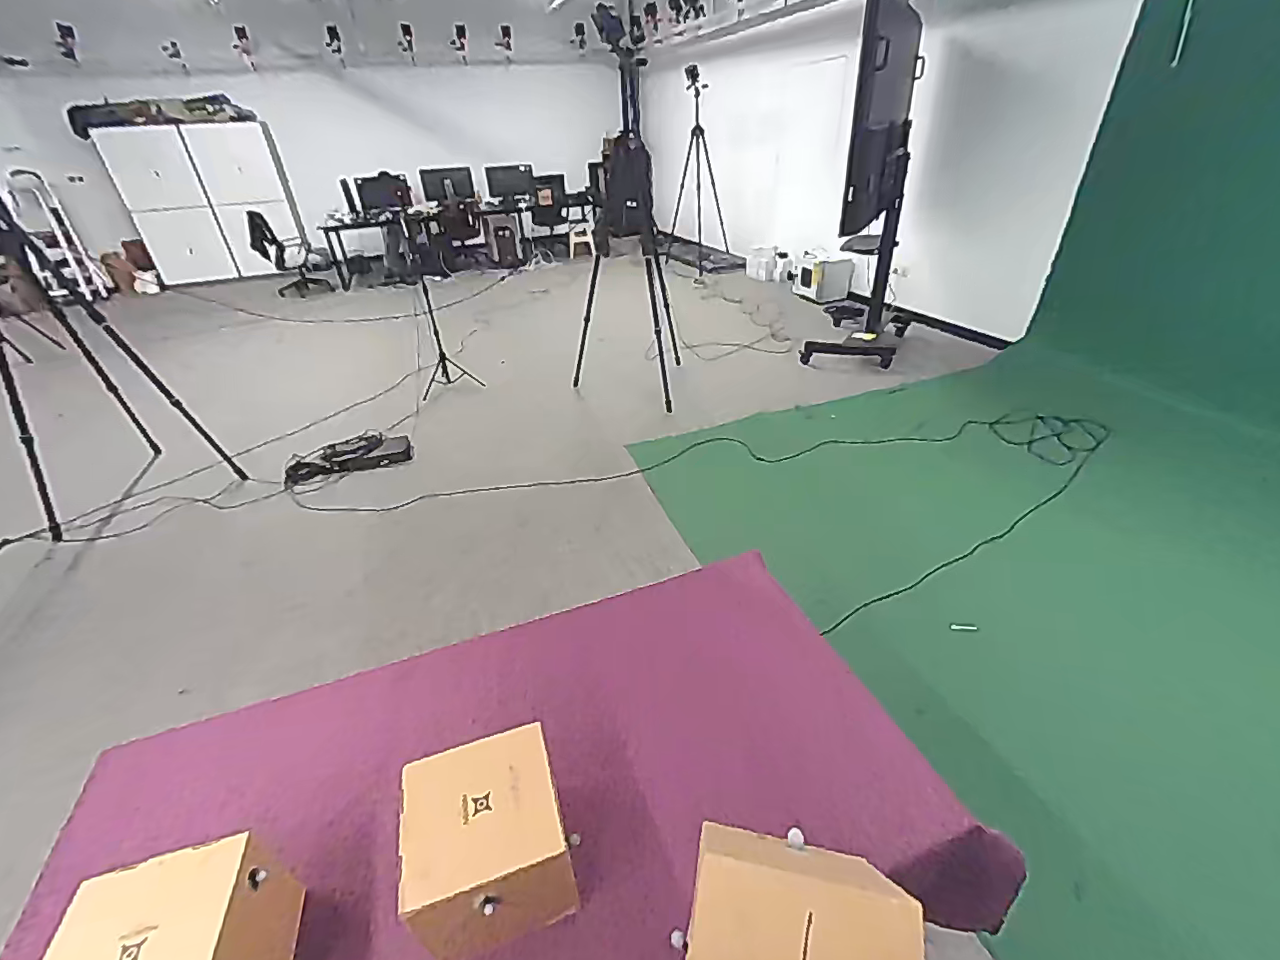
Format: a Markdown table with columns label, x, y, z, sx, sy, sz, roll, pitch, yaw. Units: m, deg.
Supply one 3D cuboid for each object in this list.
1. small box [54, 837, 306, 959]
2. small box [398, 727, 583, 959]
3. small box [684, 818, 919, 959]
| label | x | y | z | sx | sy | sz | roll | pitch | yaw |
| --- | --- | --- | --- | --- | --- | --- | --- | --- | --- |
| small box | -0.489 | 0.536 | 0.578 | 0.168 | 0.176 | 0.179 | -12 | 32 | -12 |
| small box | -0.180 | 0.451 | 0.671 | 0.179 | 0.176 | 0.168 | -13 | 34 | -13 |
| small box | 0.122 | 0.410 | 0.456 | 0.168 | 0.176 | 0.179 | 7 | 65 | 10 |
